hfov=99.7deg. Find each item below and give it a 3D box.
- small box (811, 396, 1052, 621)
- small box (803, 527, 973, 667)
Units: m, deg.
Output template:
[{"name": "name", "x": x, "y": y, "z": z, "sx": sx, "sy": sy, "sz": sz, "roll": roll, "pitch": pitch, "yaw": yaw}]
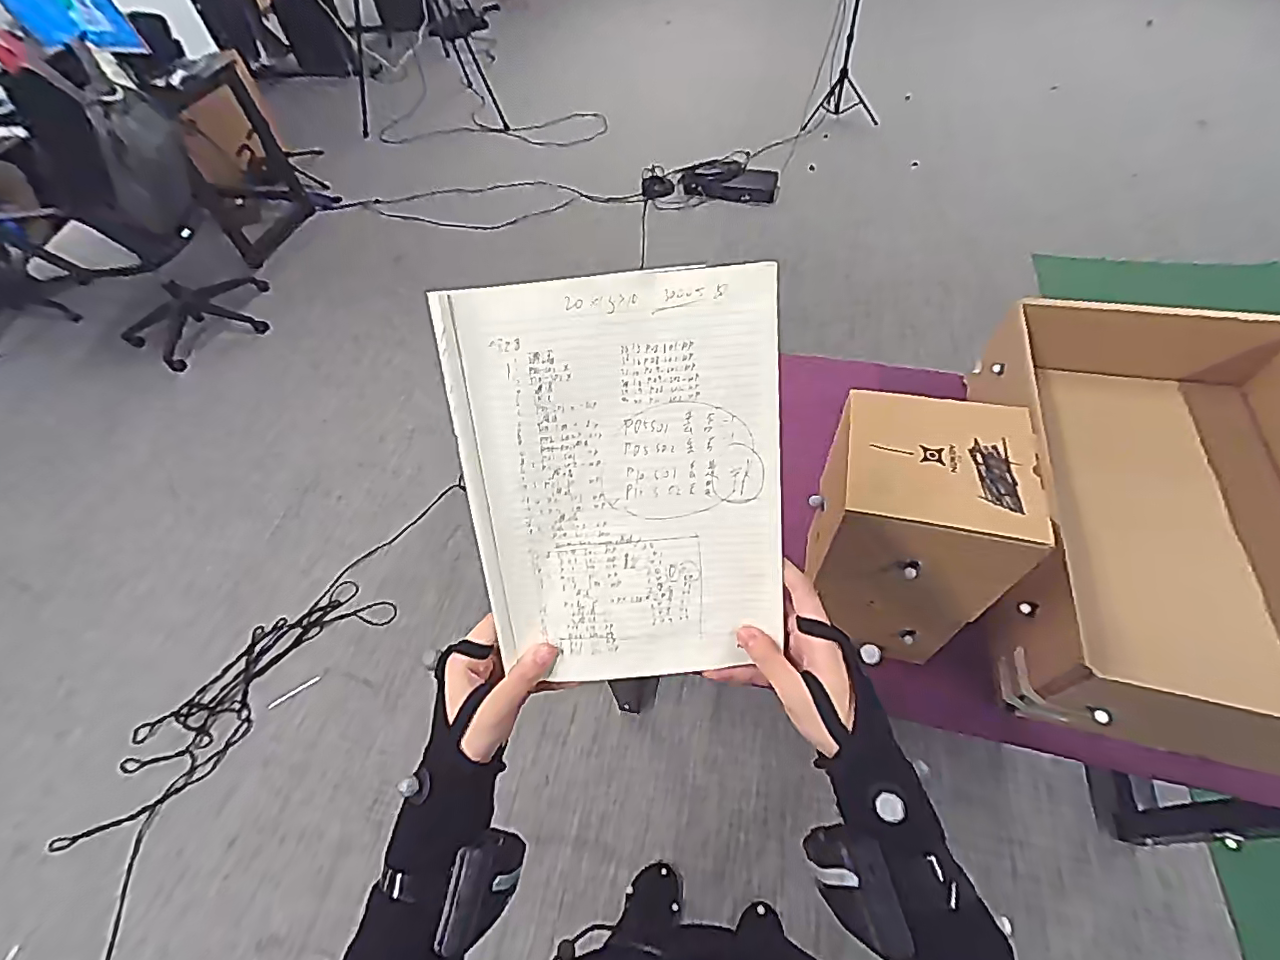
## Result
[{"name": "small box", "x": 0.297, "y": 0.035, "z": 0.588, "sx": 0.179, "sy": 0.176, "sz": 0.168, "roll": 10, "pitch": 54, "yaw": 12}, {"name": "small box", "x": 0.318, "y": 0.128, "z": 0.722, "sx": 0.168, "sy": 0.176, "sz": 0.179, "roll": 10, "pitch": 53, "yaw": 12}]
